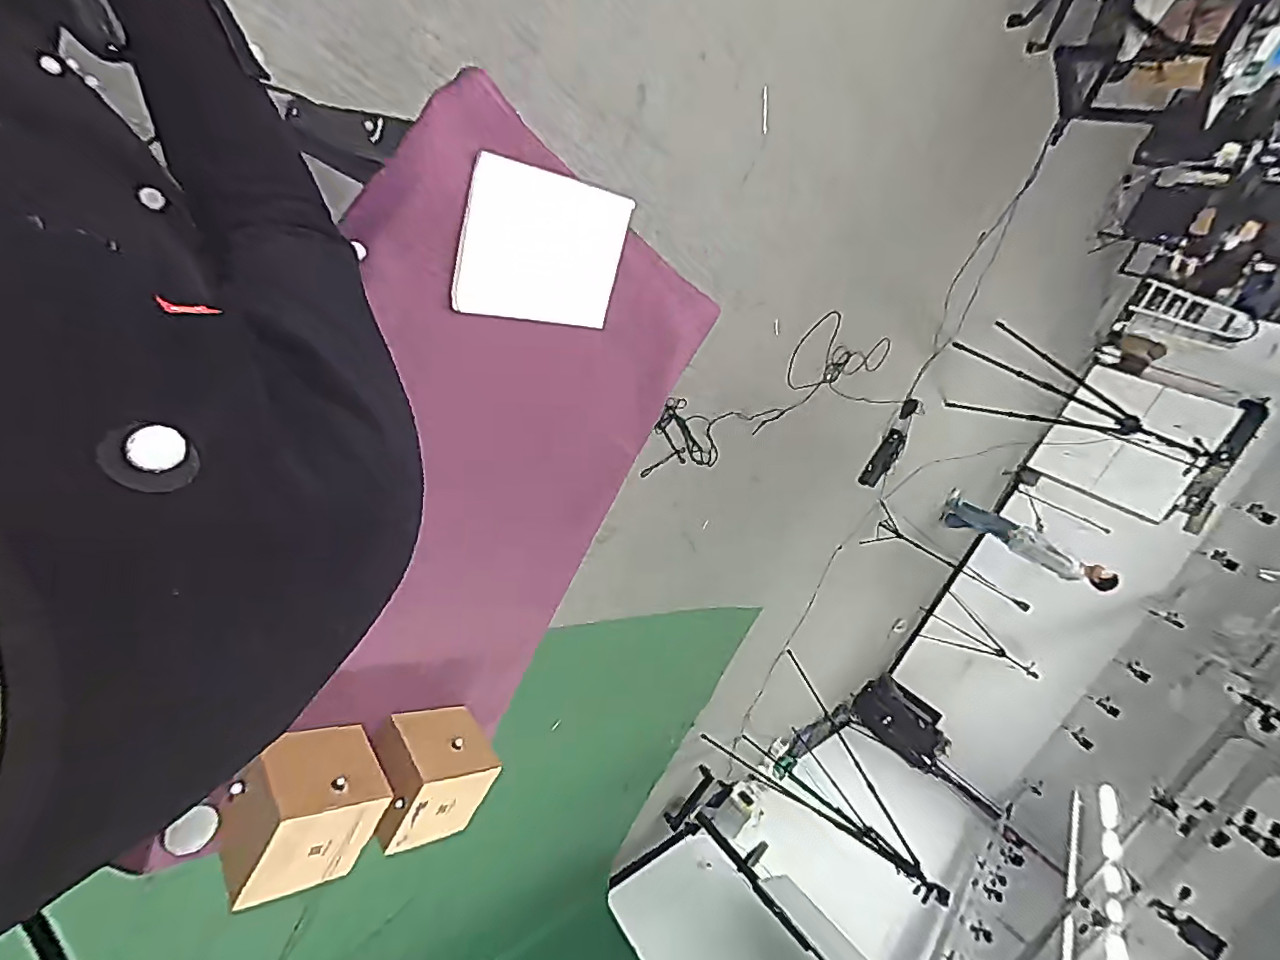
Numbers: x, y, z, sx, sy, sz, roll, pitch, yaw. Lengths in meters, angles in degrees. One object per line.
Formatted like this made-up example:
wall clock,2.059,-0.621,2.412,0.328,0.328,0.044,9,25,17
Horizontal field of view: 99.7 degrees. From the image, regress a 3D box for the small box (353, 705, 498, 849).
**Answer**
small box,-0.424,0.568,1.066,0.179,0.176,0.168,21,102,-53
